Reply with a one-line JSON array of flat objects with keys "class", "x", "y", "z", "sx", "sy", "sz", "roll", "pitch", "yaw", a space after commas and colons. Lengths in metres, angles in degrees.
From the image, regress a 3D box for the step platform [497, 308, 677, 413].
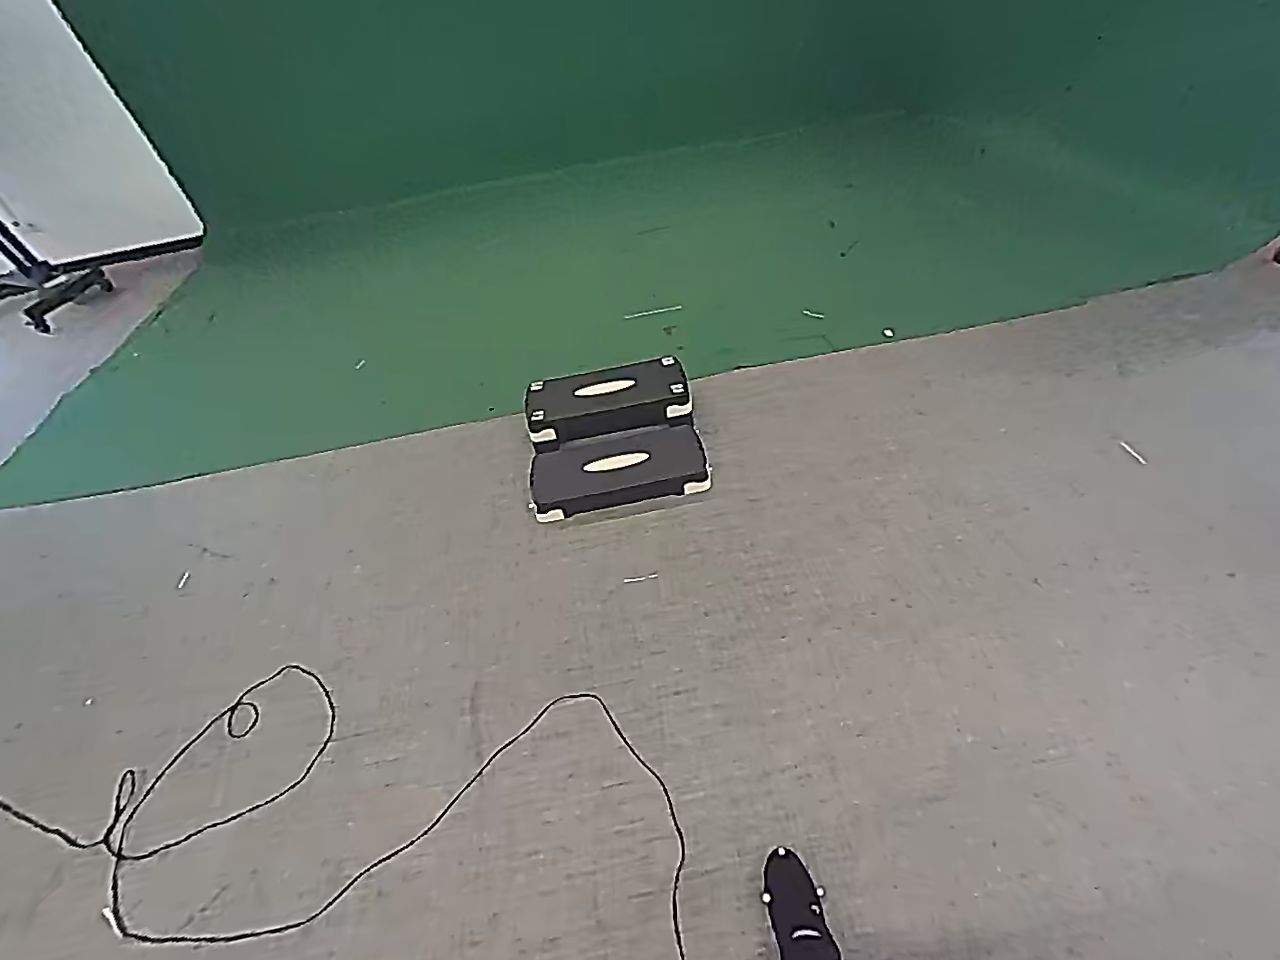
[{"class": "step platform", "x": -0.199, "y": -0.470, "z": 2.123, "sx": 0.684, "sy": 0.204, "sz": 0.286, "roll": -11, "pitch": 47, "yaw": 0}]
